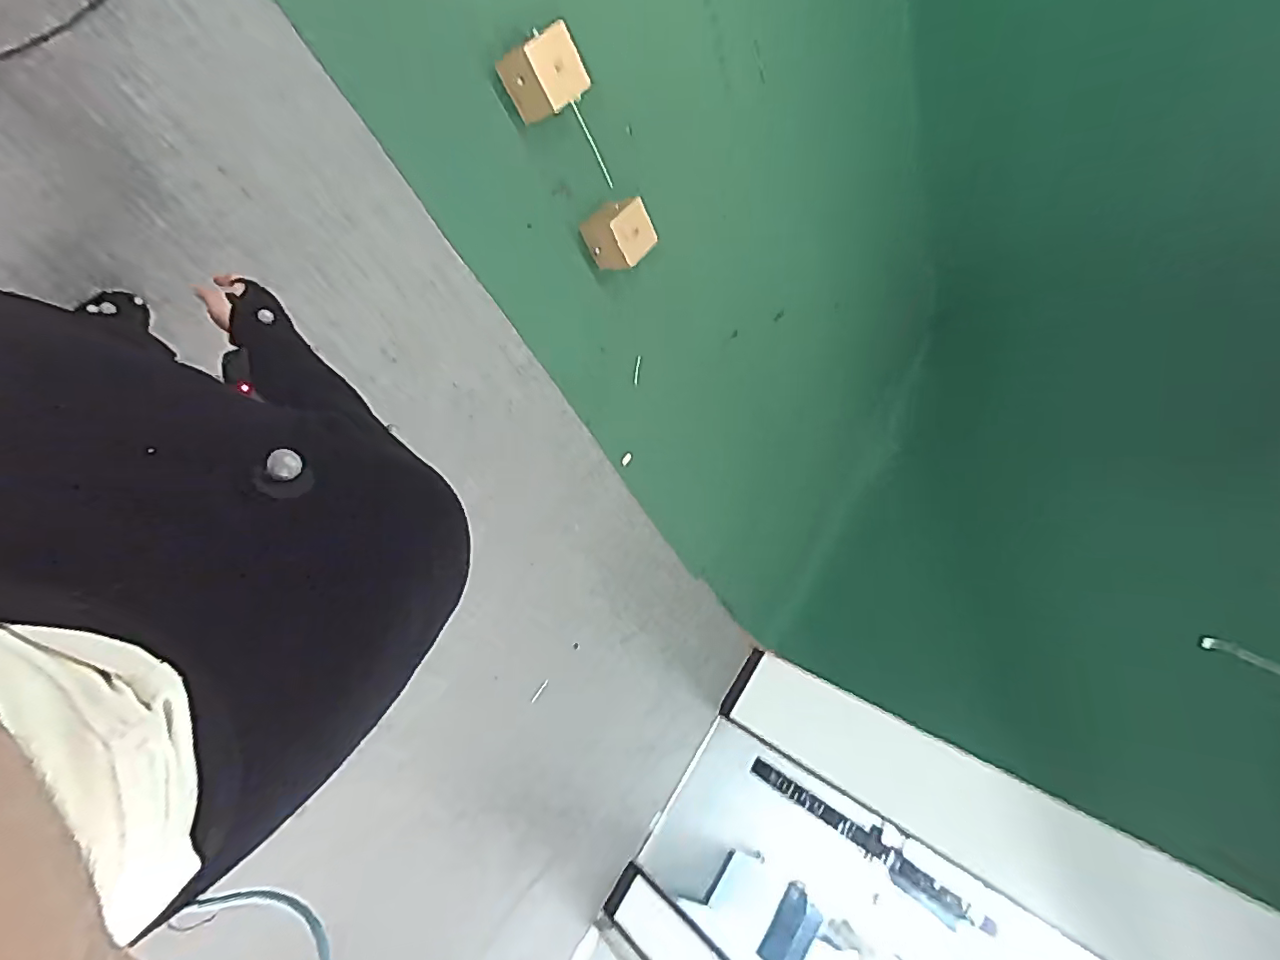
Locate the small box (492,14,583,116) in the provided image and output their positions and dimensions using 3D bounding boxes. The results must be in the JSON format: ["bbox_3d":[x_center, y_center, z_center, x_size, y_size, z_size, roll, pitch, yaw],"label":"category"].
[{"bbox_3d":[-0.310,-1.217,1.598,0.179,0.176,0.168,-53,133,-21],"label":"small box"}]

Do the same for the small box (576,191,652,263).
[{"bbox_3d":[-0.094,-0.895,1.919,0.179,0.176,0.168,-52,133,-21],"label":"small box"}]
